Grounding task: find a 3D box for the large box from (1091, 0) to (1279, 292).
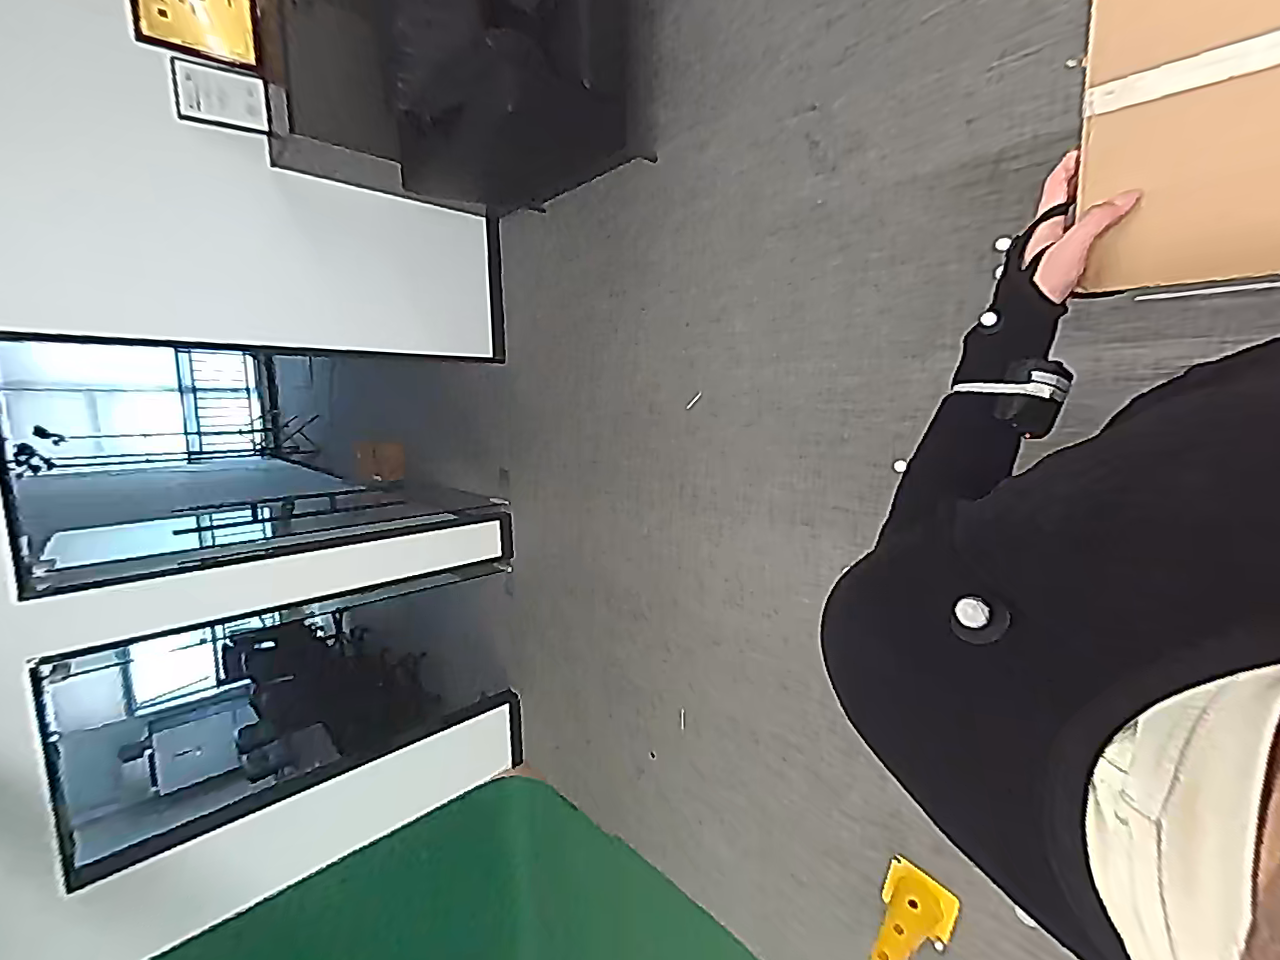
[{"bbox_3d":[0.632,-0.348,0.409,0.408,0.320,0.320,9,118,47],"label":"large box"}]
